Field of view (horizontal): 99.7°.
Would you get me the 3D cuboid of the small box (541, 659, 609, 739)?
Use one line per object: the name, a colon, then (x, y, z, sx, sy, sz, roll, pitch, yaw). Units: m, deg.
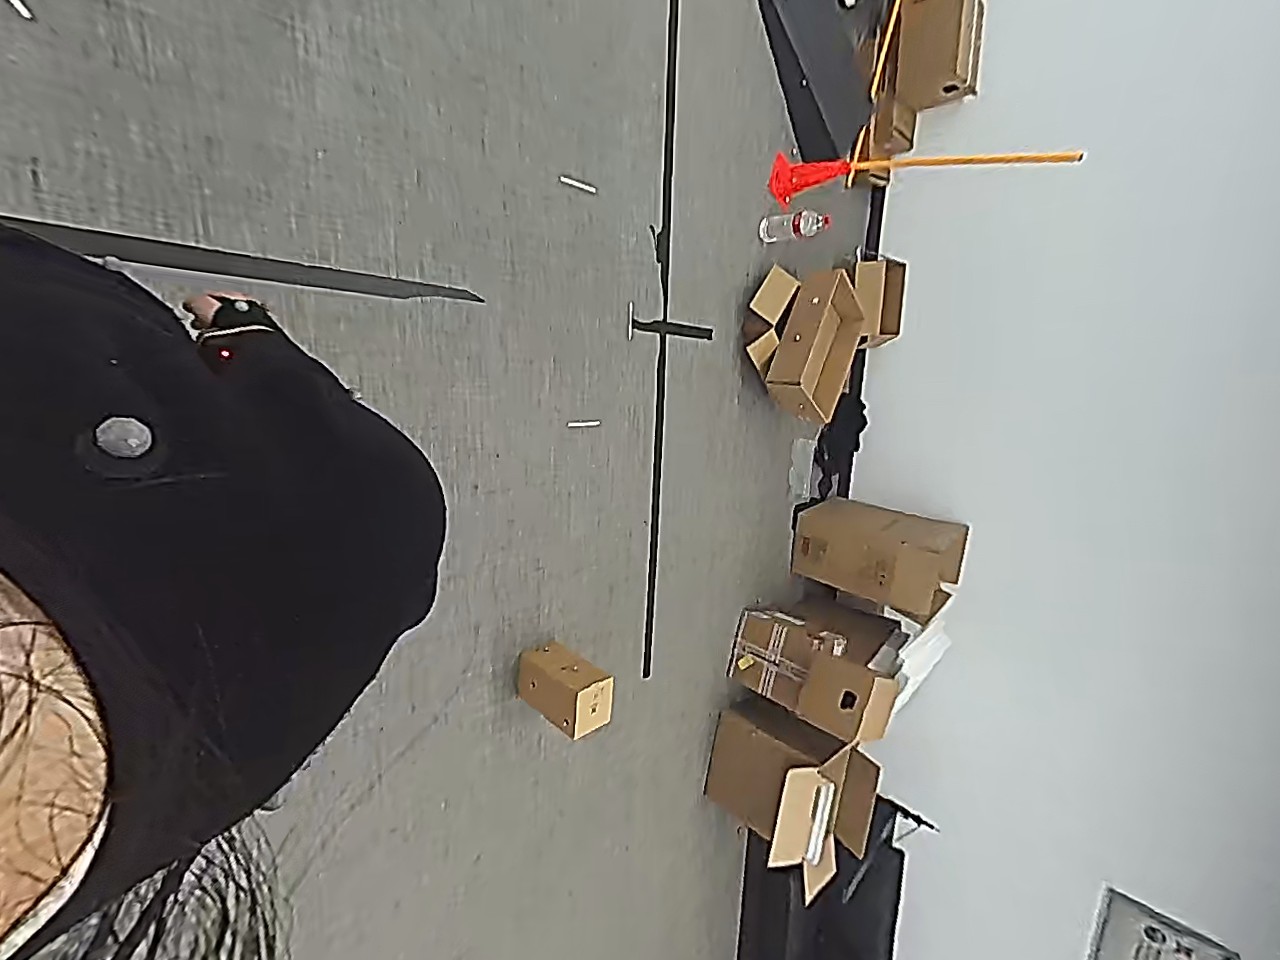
small box: (-0.229, 0.749, 1.871, 0.168, 0.176, 0.179, -5, 103, -47)
